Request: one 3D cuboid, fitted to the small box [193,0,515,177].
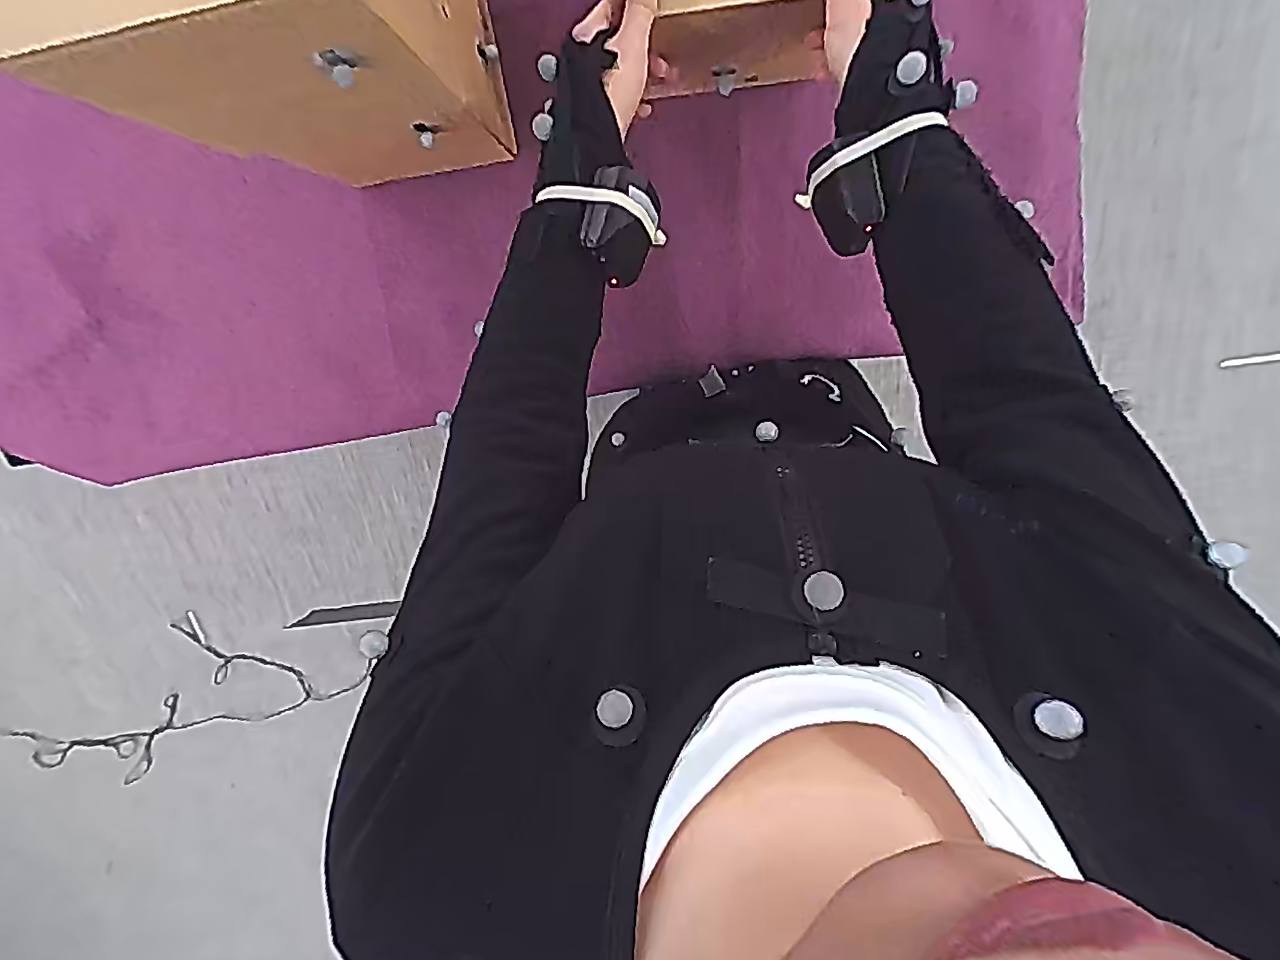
[{"bbox_3d":[-0.220,-0.365,0.441,0.179,0.176,0.168,-8,108,4],"label":"small box"}]

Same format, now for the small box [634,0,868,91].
[{"bbox_3d":[0.074,-0.430,0.407,0.168,0.176,0.179,-4,110,4],"label":"small box"}]
